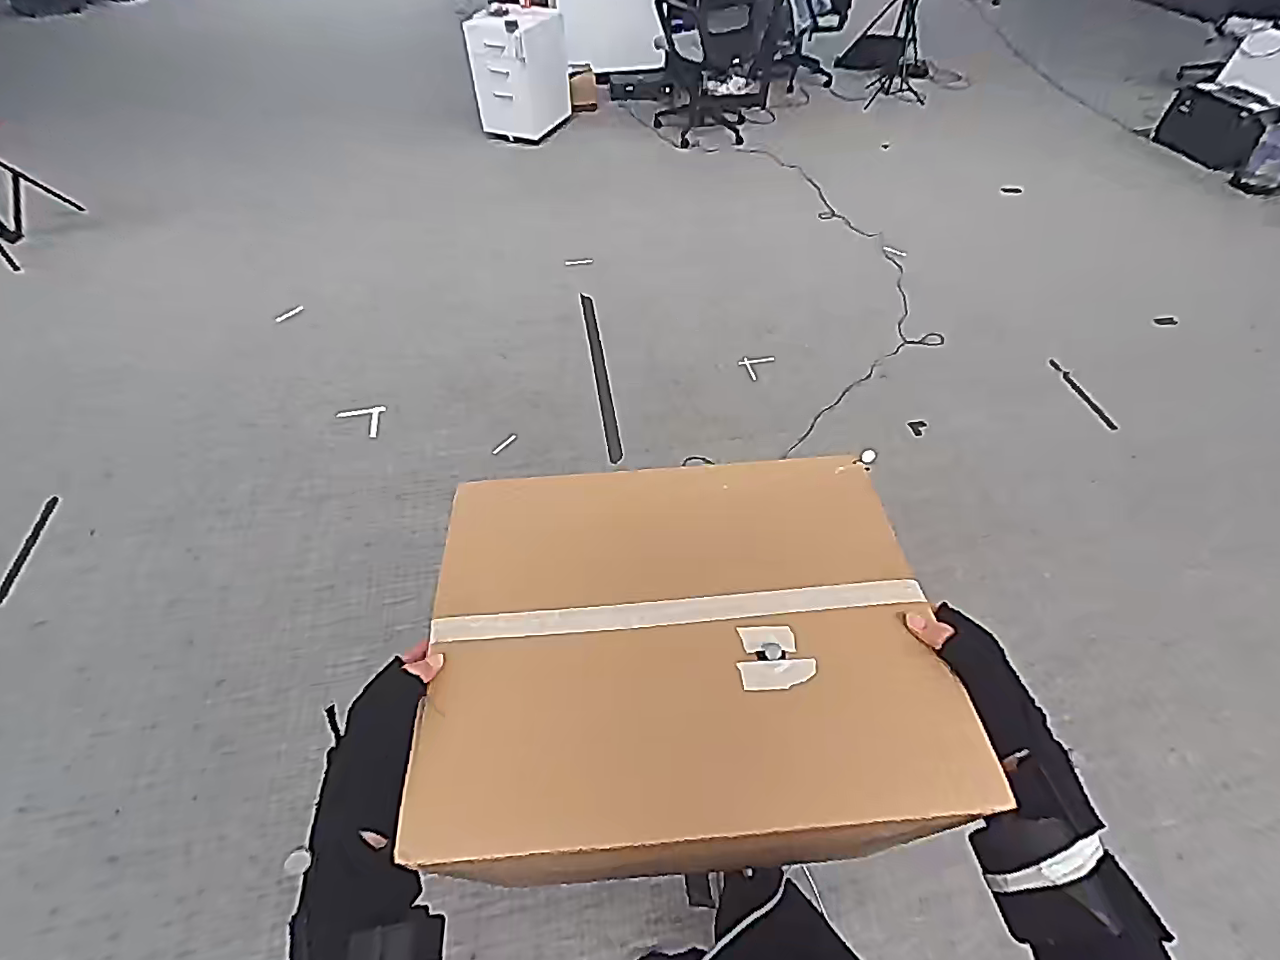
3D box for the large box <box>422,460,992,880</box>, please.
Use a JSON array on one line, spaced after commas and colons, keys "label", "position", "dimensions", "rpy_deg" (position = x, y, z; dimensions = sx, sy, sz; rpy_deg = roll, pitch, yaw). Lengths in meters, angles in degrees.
[{"label": "large box", "position": [0.039, 0.206, 0.574], "dimensions": [0.408, 0.320, 0.320], "rpy_deg": [-4, 52, -2]}]
